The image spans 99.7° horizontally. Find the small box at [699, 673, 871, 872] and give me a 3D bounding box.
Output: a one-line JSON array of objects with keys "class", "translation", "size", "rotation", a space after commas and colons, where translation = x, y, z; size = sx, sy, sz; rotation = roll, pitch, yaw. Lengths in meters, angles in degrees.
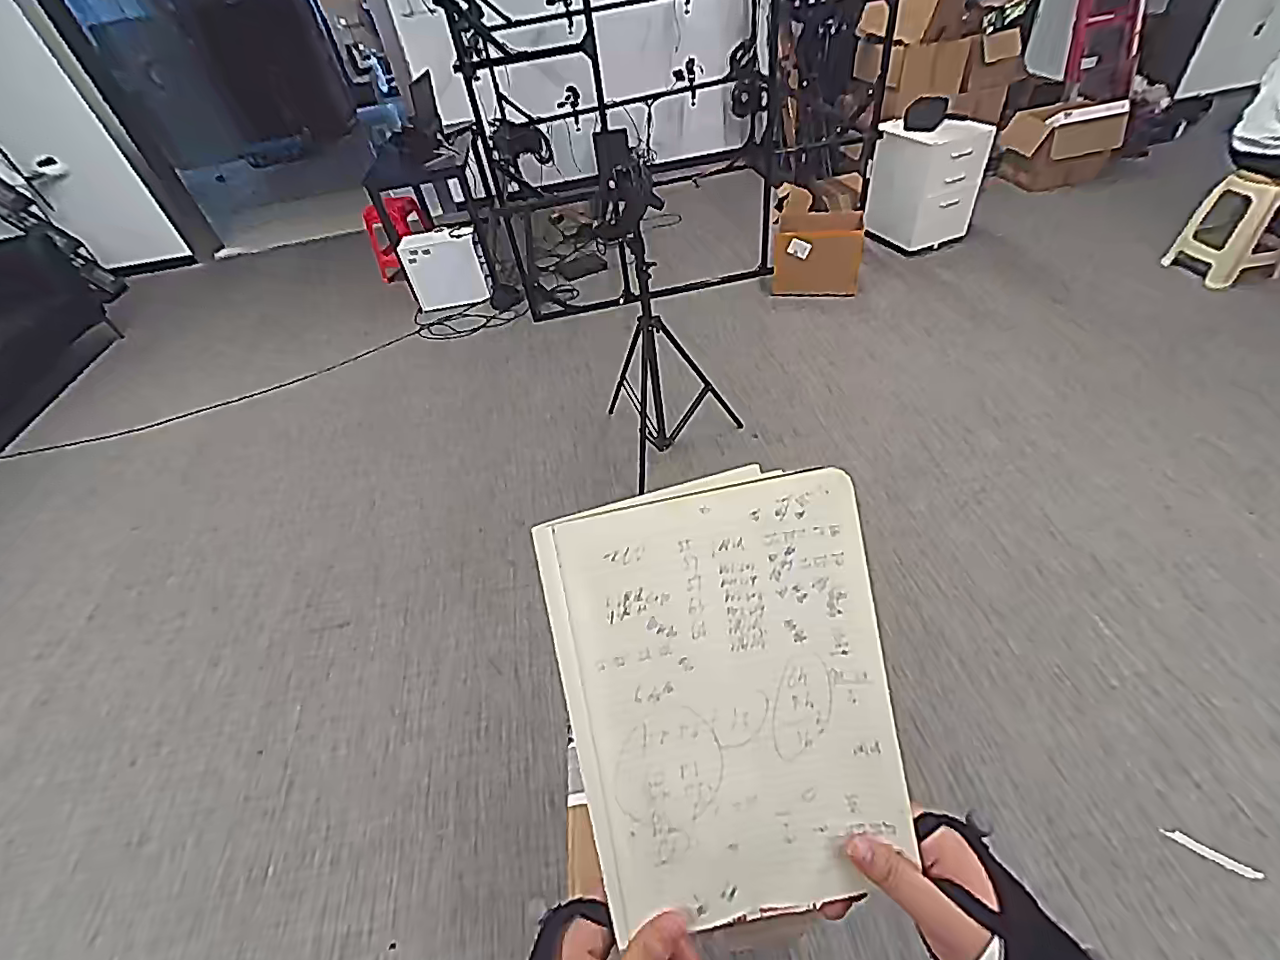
[{"class": "small box", "translation": [0.175, 0.388, 0.720], "size": [0.168, 0.176, 0.179], "rotation": [-10, 45, -3]}]

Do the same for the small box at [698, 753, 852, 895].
[{"class": "small box", "translation": [0.193, 0.509, 0.830], "size": [0.179, 0.176, 0.168], "rotation": [-12, 45, -4]}]
